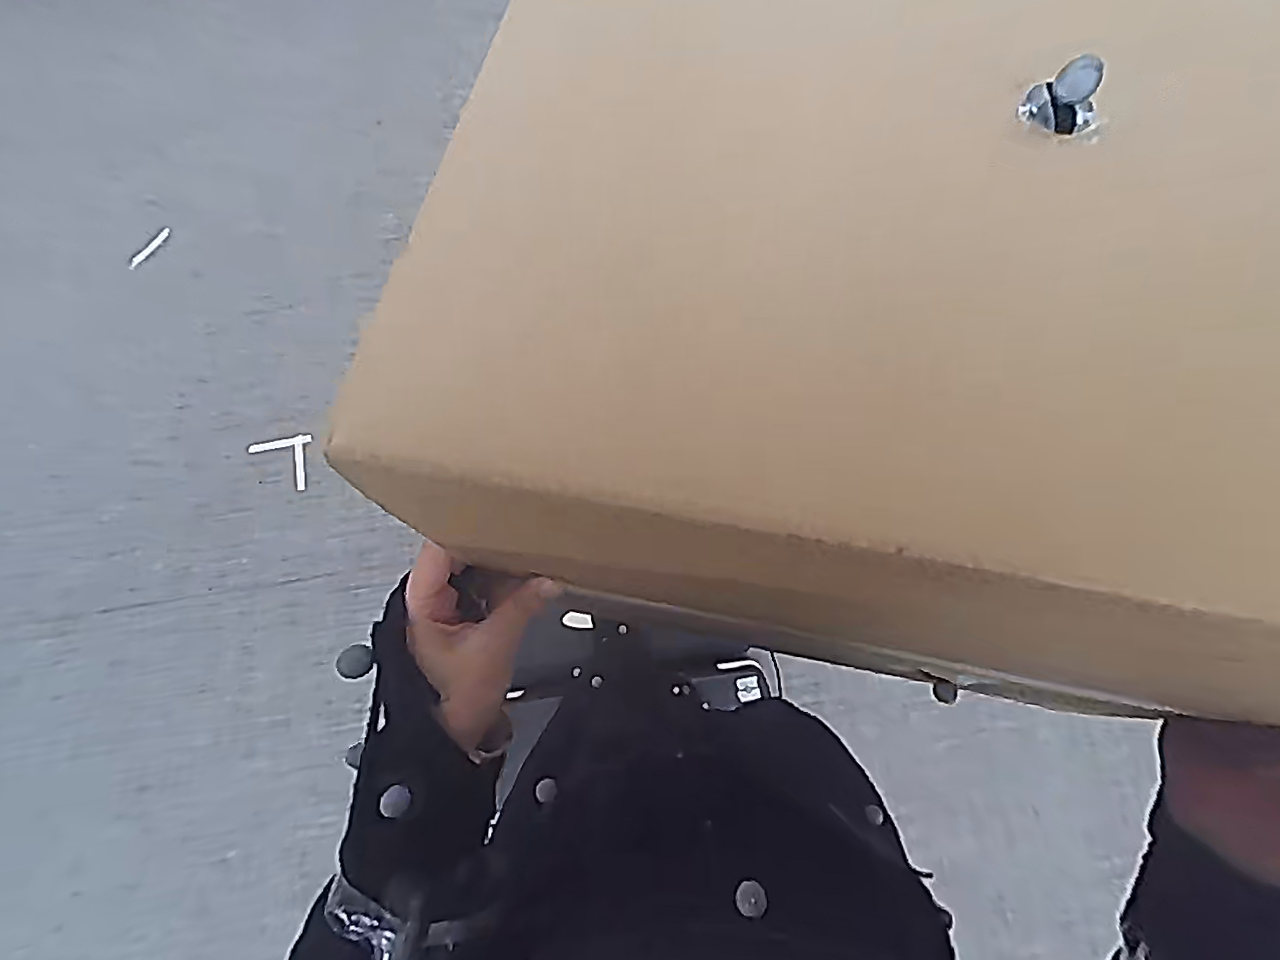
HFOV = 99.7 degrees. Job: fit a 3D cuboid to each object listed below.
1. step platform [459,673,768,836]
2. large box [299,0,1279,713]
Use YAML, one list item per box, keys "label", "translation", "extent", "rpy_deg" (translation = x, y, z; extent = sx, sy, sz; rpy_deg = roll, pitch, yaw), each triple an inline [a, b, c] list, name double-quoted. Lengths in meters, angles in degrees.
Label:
- label: "step platform"
  translation: [-0.057, 0.616, 1.235]
  extent: [0.684, 0.204, 0.286]
  rpy_deg: [-3, 77, 2]
- label: "large box"
  translation: [0.124, -0.066, 0.322]
  extent: [0.408, 0.320, 0.320]
  rpy_deg: [8, 72, 5]
